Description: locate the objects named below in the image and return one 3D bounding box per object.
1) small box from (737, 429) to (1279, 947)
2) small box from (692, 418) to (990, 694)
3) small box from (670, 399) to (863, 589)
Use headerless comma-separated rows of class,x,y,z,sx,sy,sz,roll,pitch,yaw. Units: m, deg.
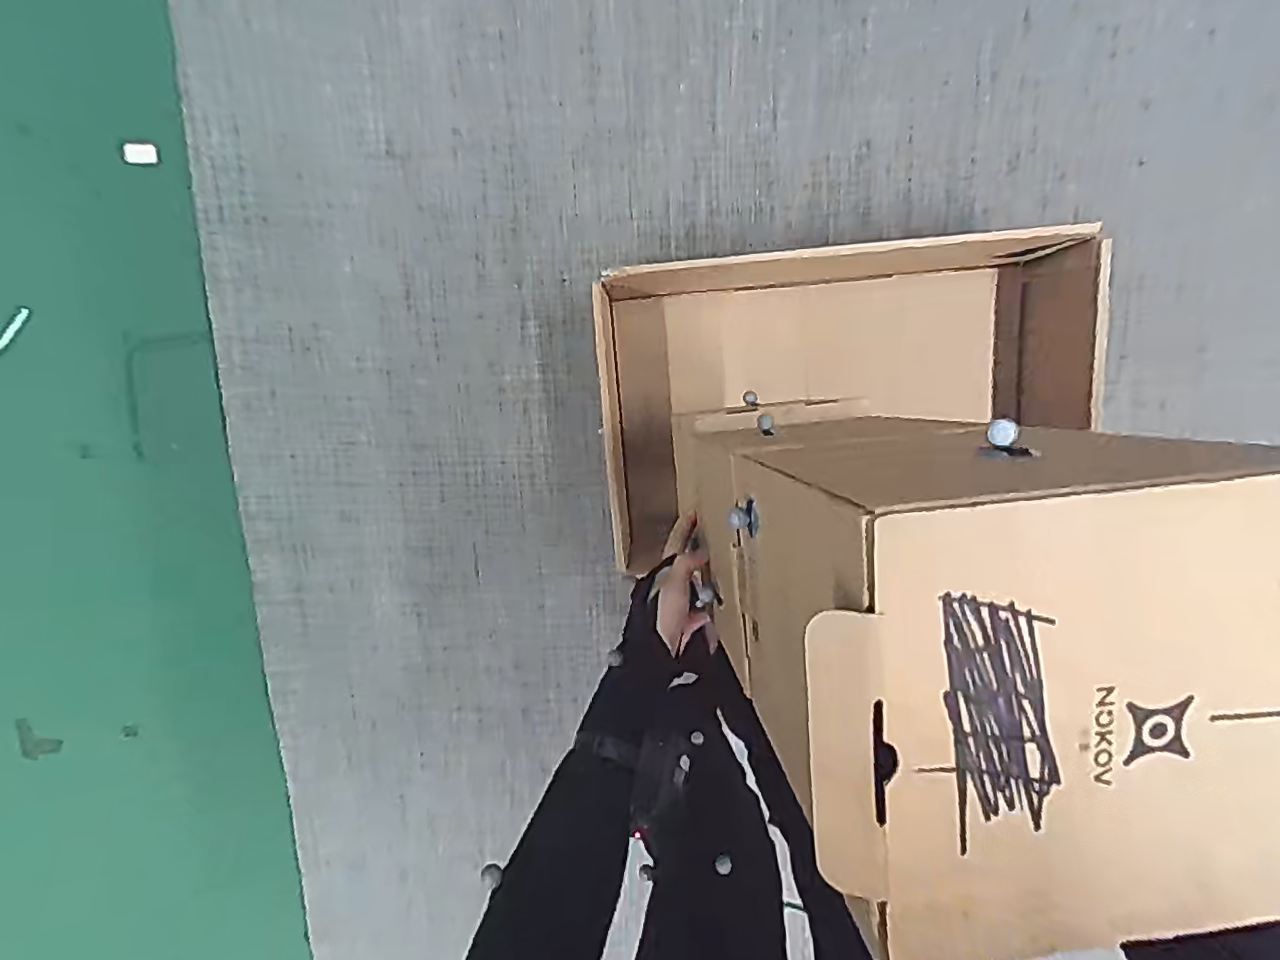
small box,0.150,0.068,0.265,0.179,0.176,0.168,-7,99,-2
small box,0.138,0.042,0.426,0.179,0.176,0.168,-6,99,-1
small box,0.129,0.008,0.587,0.168,0.176,0.179,-7,97,-3
